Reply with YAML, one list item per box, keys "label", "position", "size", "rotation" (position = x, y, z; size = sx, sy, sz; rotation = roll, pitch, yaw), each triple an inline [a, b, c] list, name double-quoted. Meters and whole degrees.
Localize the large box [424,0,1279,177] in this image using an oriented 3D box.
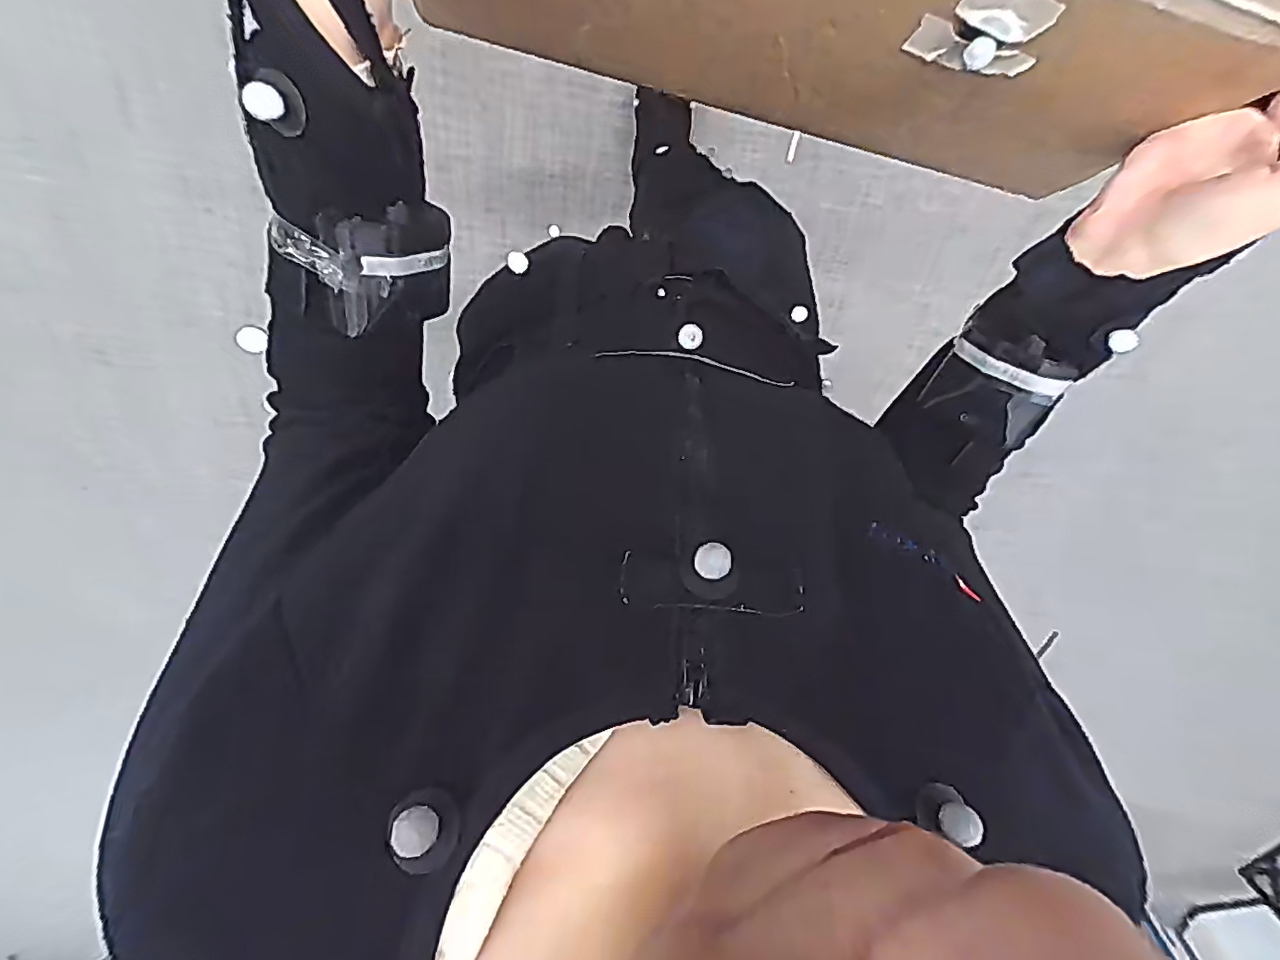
- label: "large box"
  position: [0.116, -0.365, 0.175]
  size: [0.408, 0.320, 0.320]
  rotation: [9, 96, -9]
